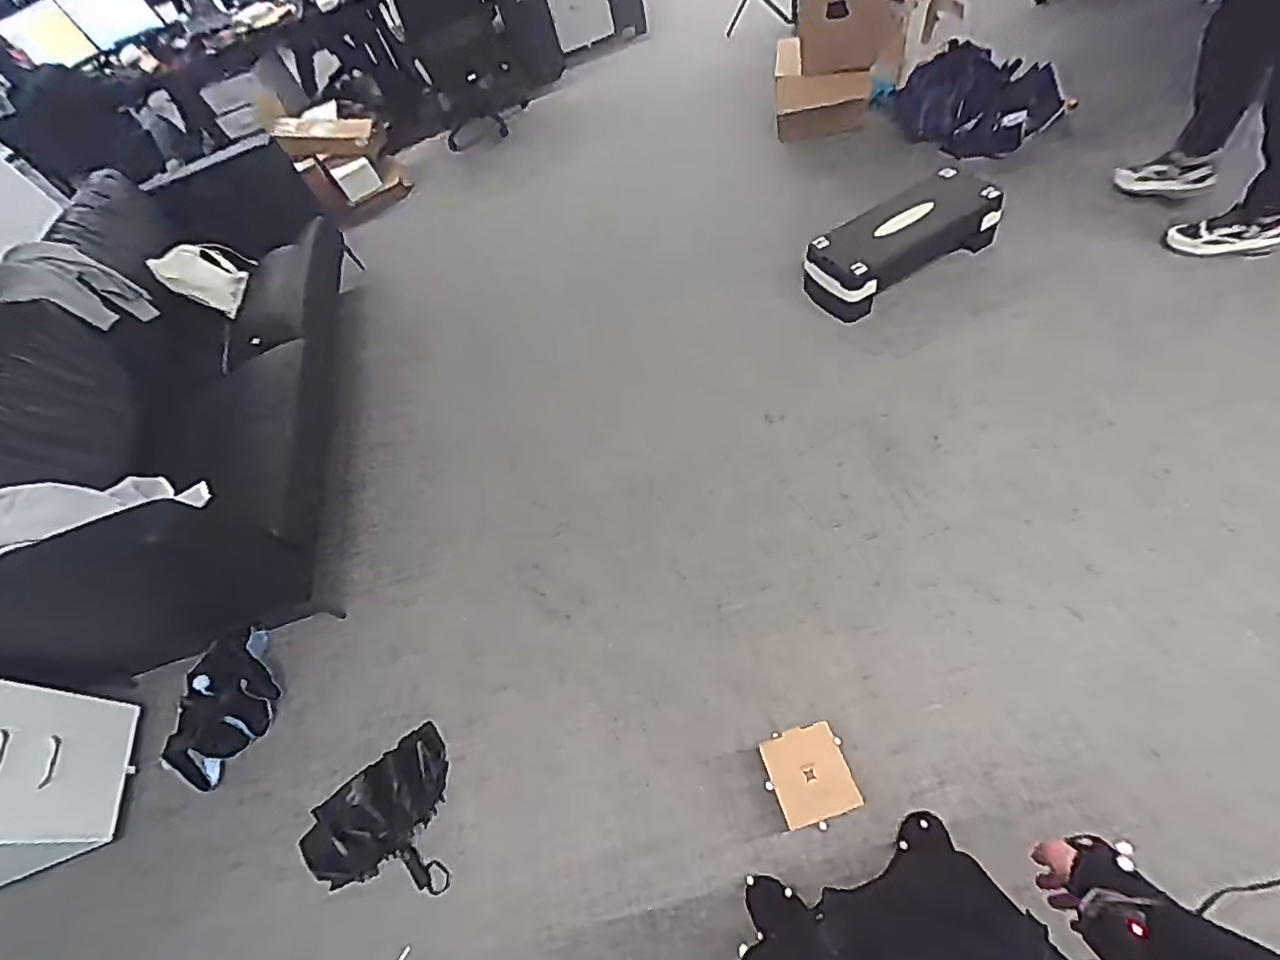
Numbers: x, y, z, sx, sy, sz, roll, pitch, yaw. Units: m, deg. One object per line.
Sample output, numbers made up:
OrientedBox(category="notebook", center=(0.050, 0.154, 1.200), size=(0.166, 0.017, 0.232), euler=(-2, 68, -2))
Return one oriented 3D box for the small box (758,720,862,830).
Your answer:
OrientedBox(category="small box", center=(0.383, 0.678, 1.237), size=(0.168, 0.176, 0.179), euler=(-23, 56, 3))
